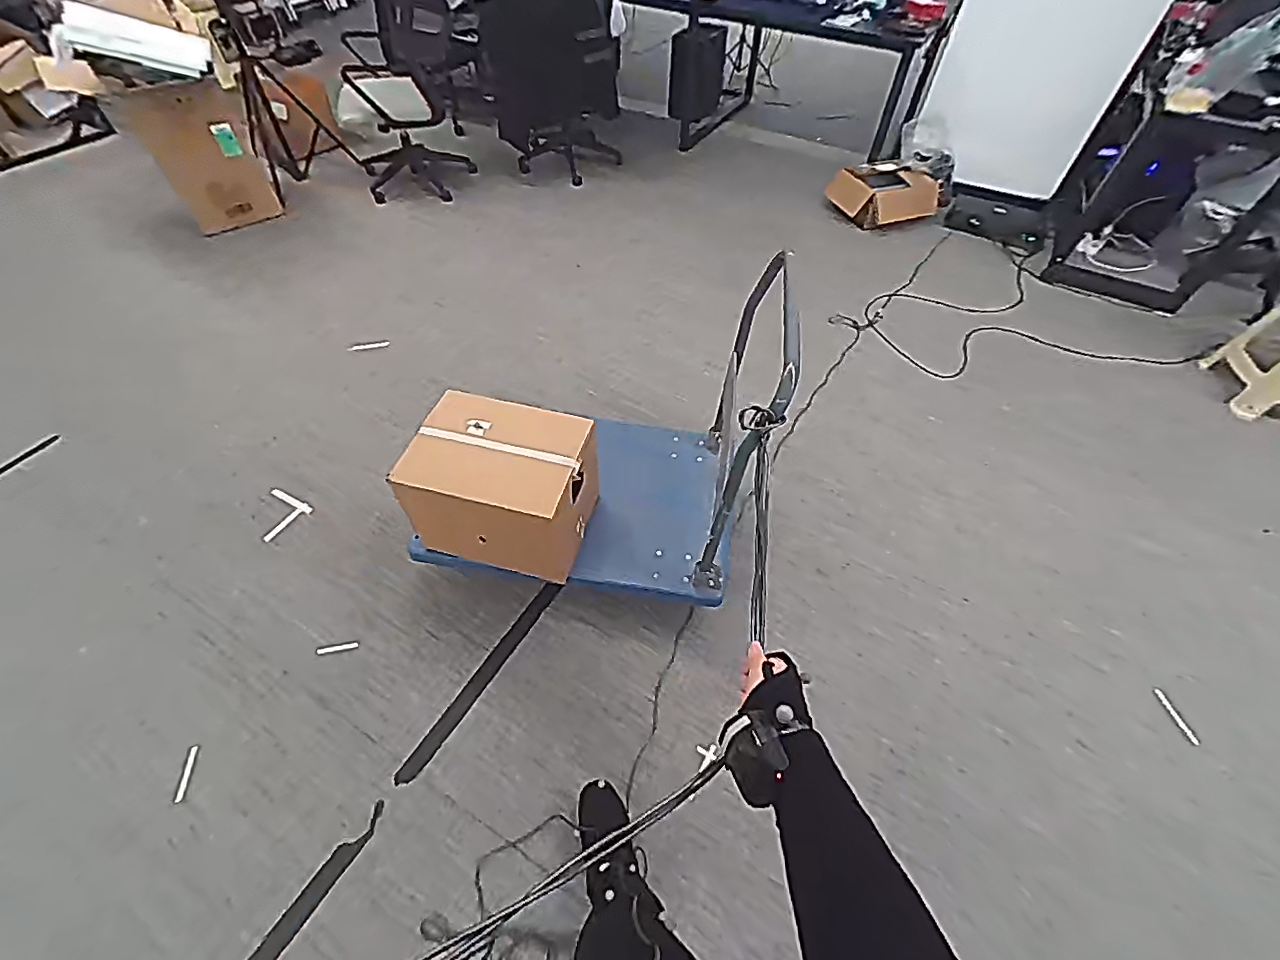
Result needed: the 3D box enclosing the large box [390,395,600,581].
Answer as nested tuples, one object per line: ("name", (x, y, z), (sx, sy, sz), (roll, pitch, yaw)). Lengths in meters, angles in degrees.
("large box", (-0.340, 0.025, 1.401), (0.408, 0.320, 0.320), (12, 52, 8))
